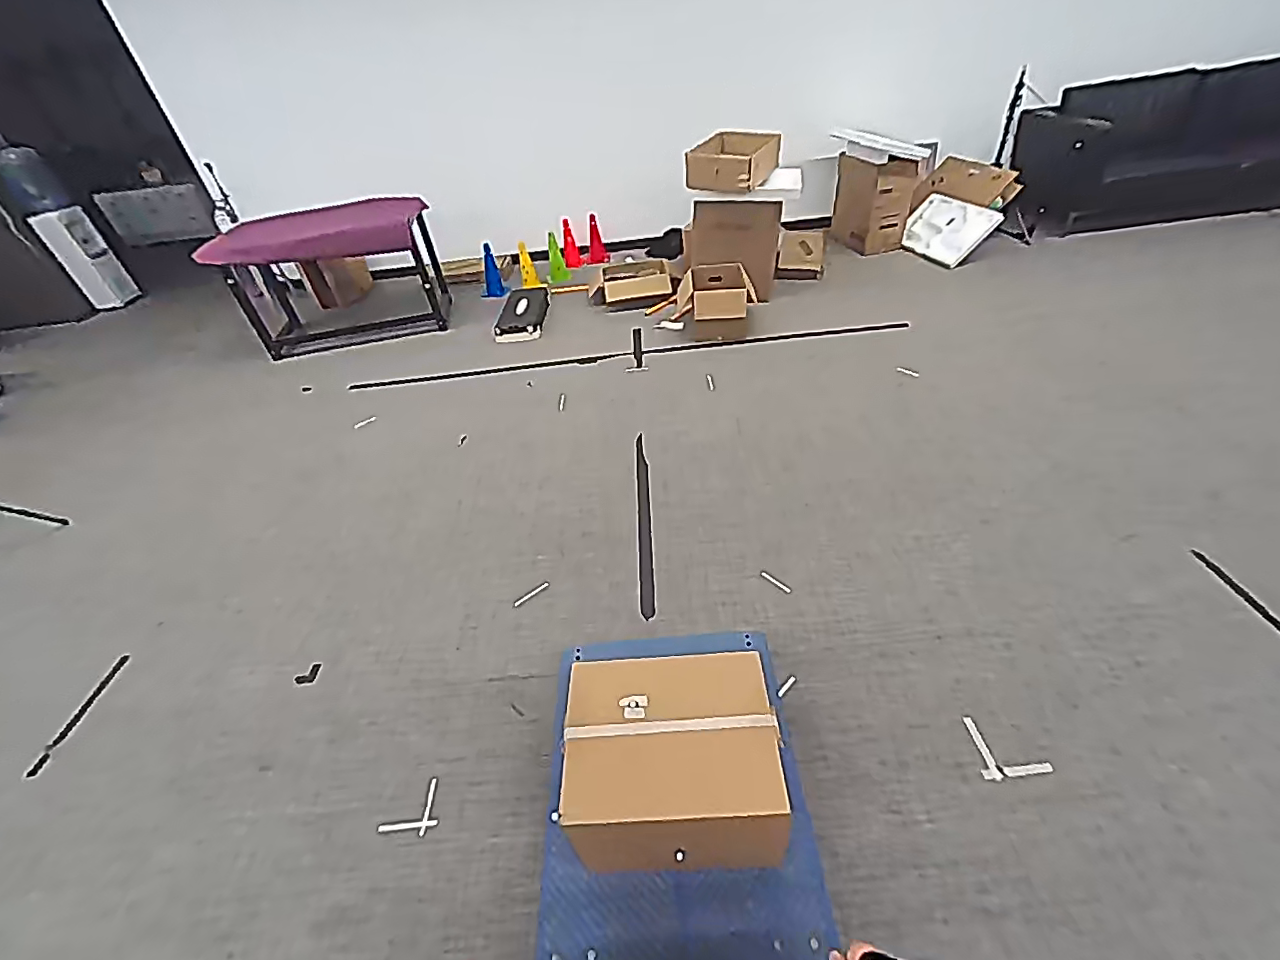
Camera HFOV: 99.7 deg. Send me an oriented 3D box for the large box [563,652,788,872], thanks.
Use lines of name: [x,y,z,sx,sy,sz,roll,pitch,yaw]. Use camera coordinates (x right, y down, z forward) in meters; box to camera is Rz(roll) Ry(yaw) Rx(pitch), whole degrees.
large box: [0.074,0.603,1.152,0.408,0.320,0.320,-6,39,4]
